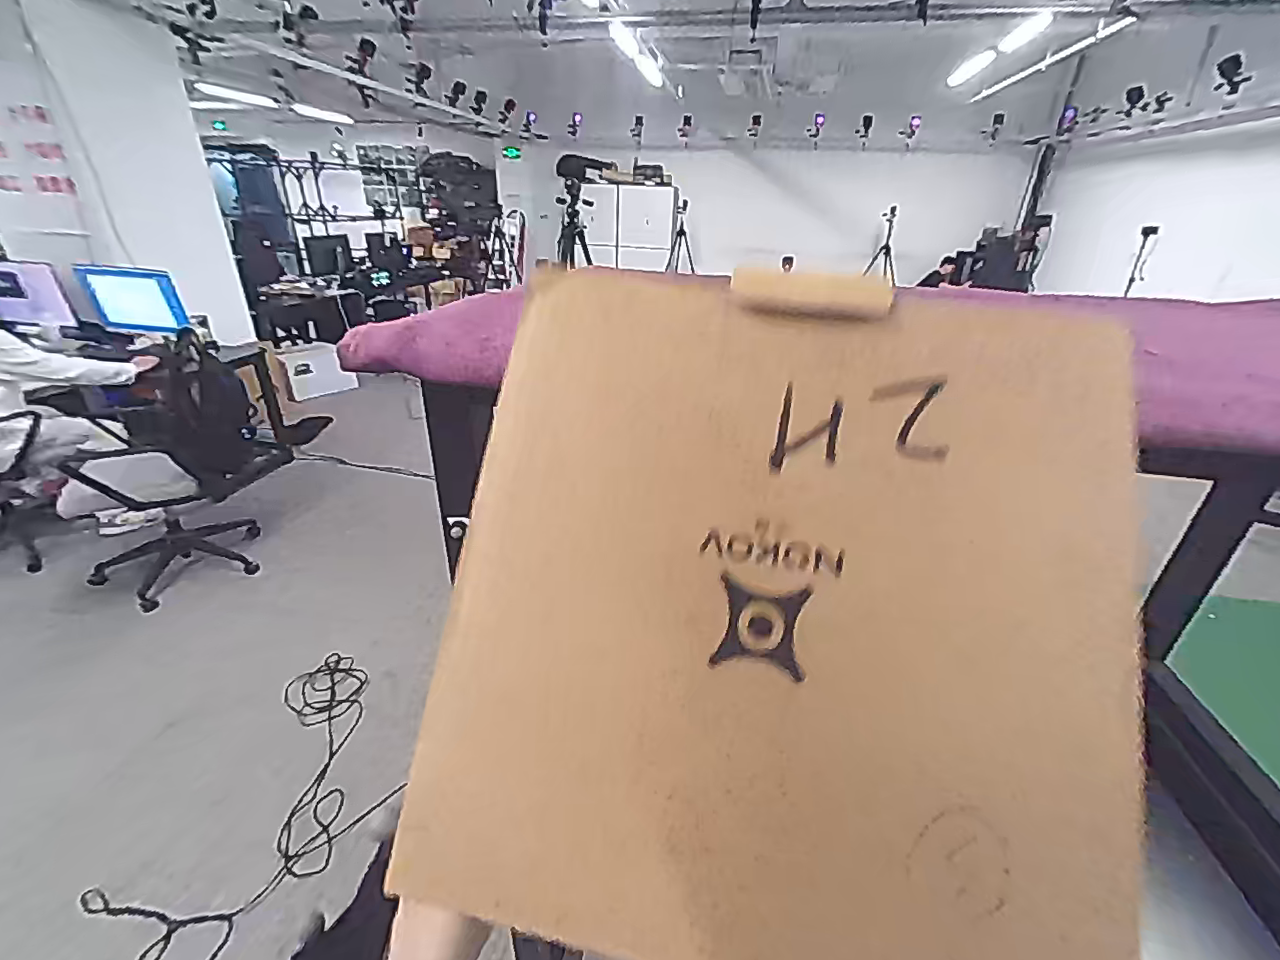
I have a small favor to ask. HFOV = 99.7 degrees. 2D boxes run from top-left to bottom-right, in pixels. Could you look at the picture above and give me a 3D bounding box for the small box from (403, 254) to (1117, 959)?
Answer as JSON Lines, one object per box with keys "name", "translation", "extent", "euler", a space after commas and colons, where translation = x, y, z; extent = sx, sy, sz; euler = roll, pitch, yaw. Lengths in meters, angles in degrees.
{"name": "small box", "translation": [0.042, 0.041, 0.220], "extent": [0.168, 0.179, 0.176], "euler": [9, -12, 9]}
